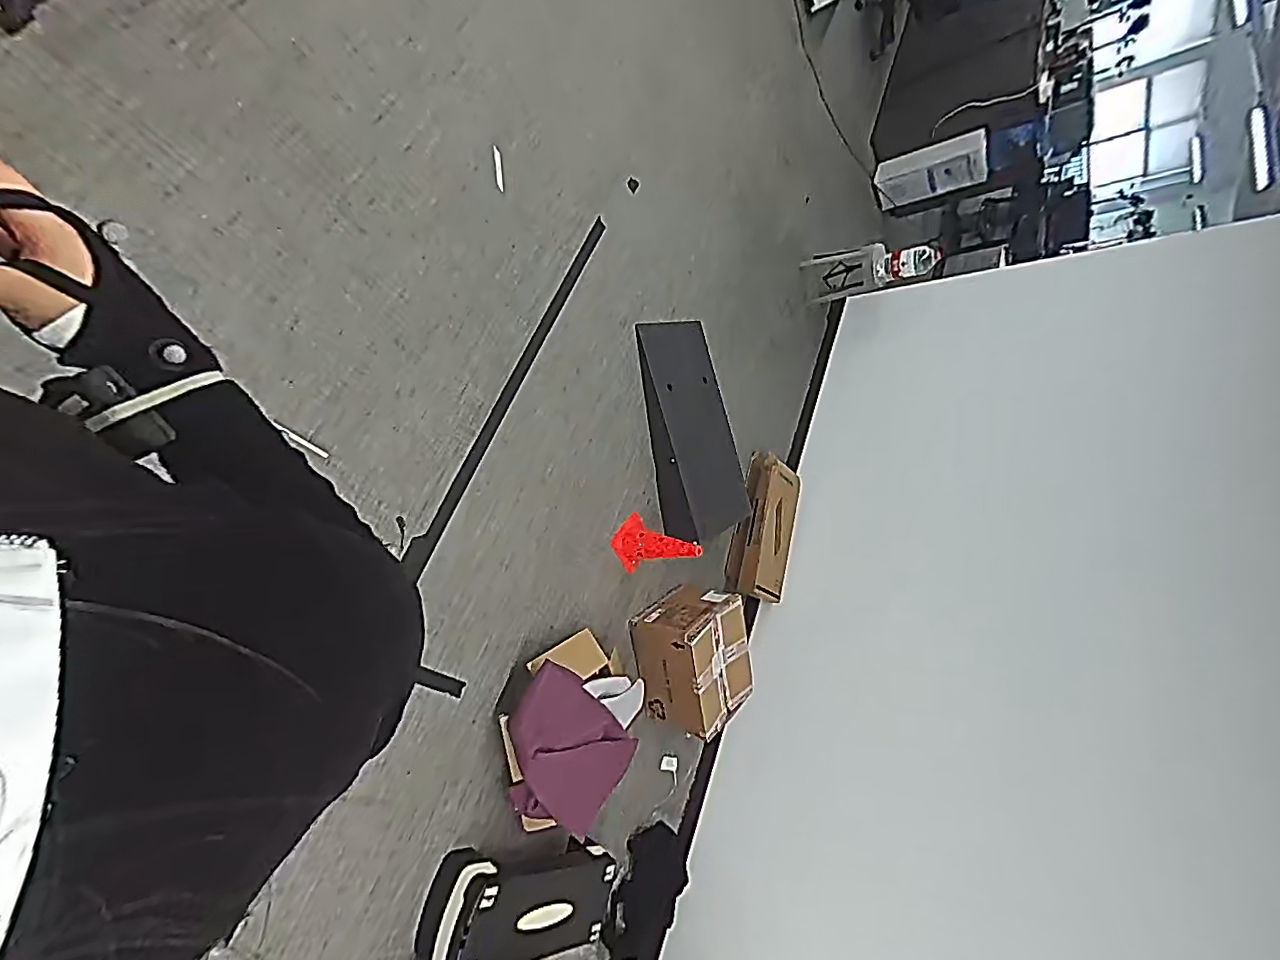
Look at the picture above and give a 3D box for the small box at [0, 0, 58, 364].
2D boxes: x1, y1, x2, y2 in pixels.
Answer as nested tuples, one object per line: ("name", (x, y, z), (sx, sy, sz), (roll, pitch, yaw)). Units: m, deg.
("small box", (-0.379, -0.159, 0.217), (0.168, 0.176, 0.179), (-15, 89, -51))
